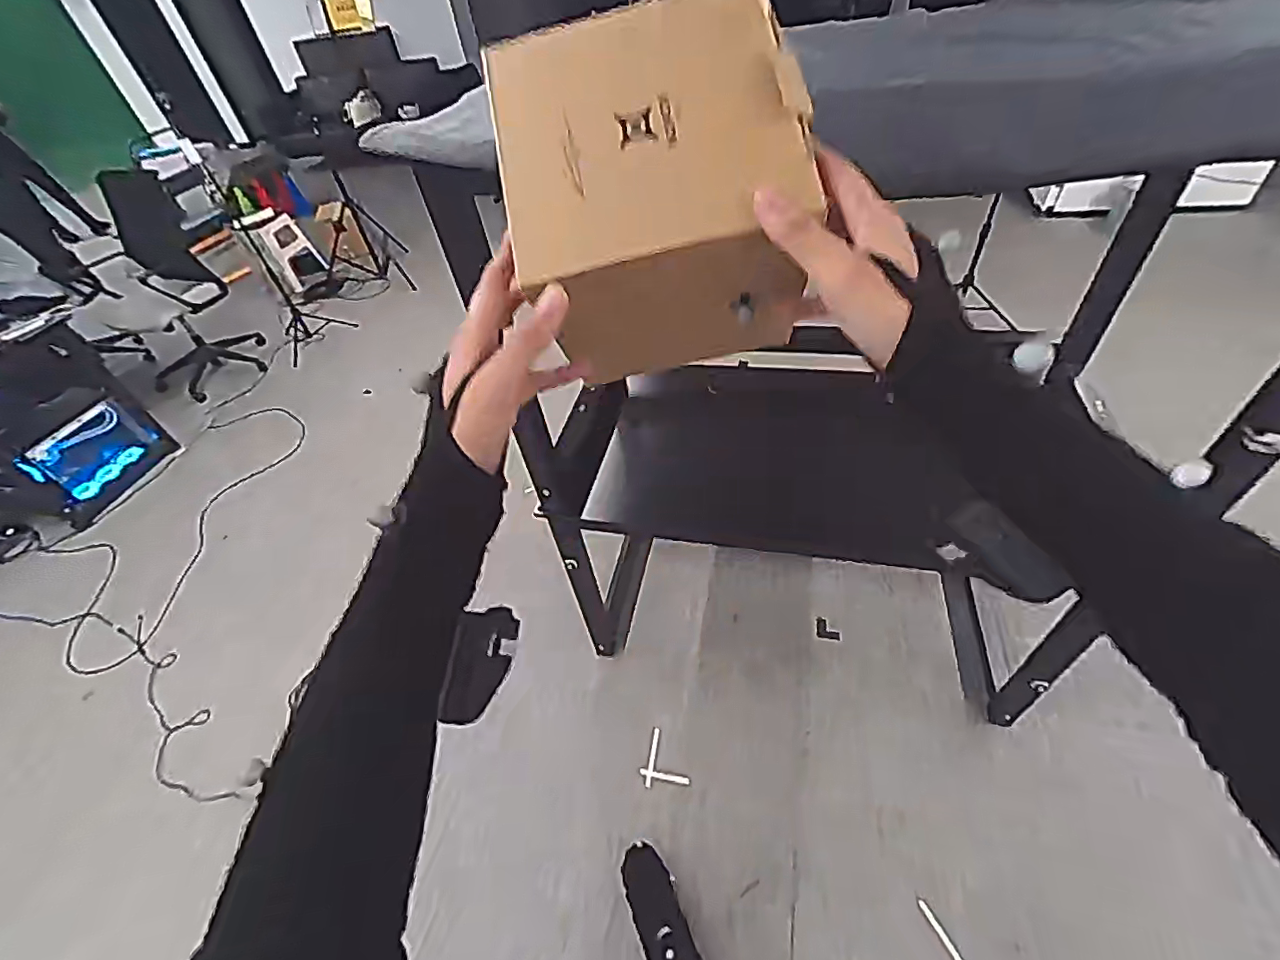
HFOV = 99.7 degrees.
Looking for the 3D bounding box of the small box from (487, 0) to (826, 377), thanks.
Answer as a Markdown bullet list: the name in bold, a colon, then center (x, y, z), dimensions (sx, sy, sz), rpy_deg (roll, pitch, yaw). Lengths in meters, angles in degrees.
- **small box**: center (0.012, -0.191, 0.389), dimensions (0.179, 0.176, 0.168), rpy_deg (-11, 78, 5)
